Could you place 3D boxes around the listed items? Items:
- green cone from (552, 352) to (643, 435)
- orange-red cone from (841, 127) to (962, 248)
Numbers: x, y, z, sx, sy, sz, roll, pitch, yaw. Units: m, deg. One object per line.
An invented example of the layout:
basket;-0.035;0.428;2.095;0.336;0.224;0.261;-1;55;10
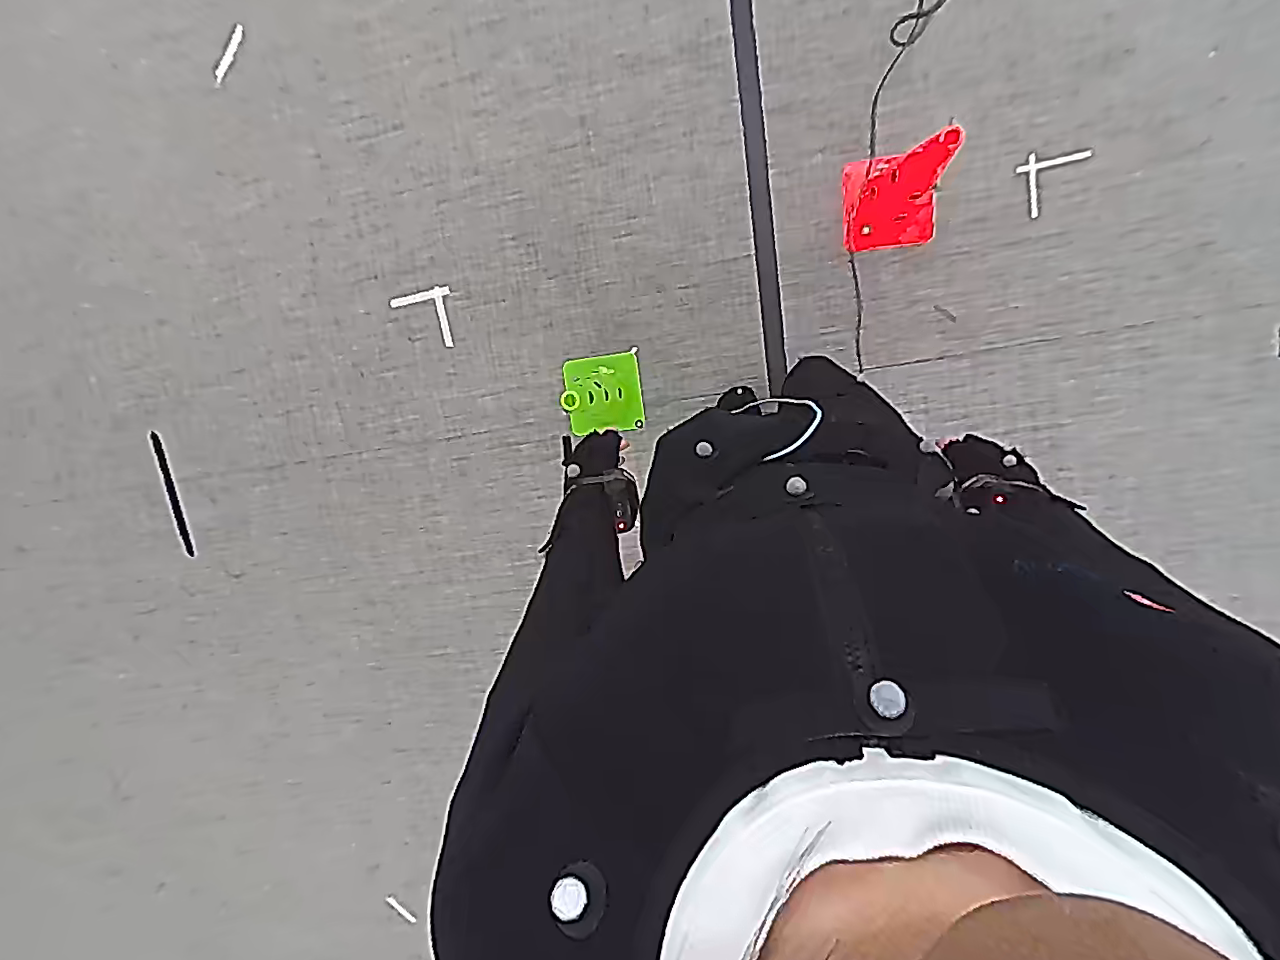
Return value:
green cone;-0.126;-0.198;1.251;0.202;0.368;0.200;-7;99;10
orange-red cone;0.553;-0.617;1.092;0.199;0.360;0.198;-3;101;7
